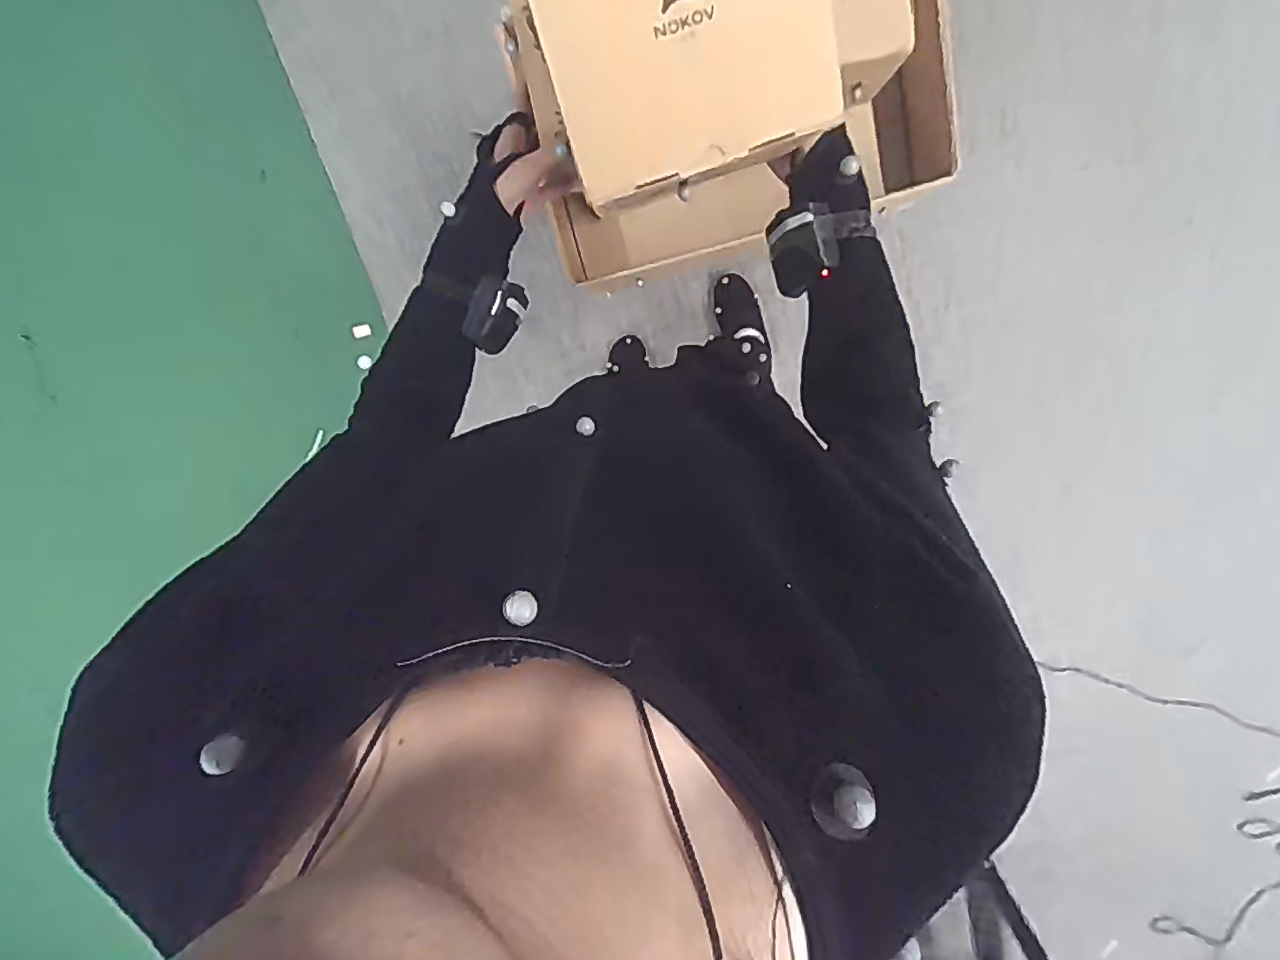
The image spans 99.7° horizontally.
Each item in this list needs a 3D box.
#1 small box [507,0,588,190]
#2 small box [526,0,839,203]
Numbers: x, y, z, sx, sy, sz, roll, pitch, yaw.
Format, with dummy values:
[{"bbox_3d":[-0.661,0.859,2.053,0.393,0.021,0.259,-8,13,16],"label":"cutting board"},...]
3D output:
[{"bbox_3d":[-0.015,-0.393,0.518,0.179,0.176,0.168,-9,109,4],"label":"small box"},{"bbox_3d":[0.017,-0.309,0.370,0.168,0.176,0.179,-15,114,8],"label":"small box"}]
